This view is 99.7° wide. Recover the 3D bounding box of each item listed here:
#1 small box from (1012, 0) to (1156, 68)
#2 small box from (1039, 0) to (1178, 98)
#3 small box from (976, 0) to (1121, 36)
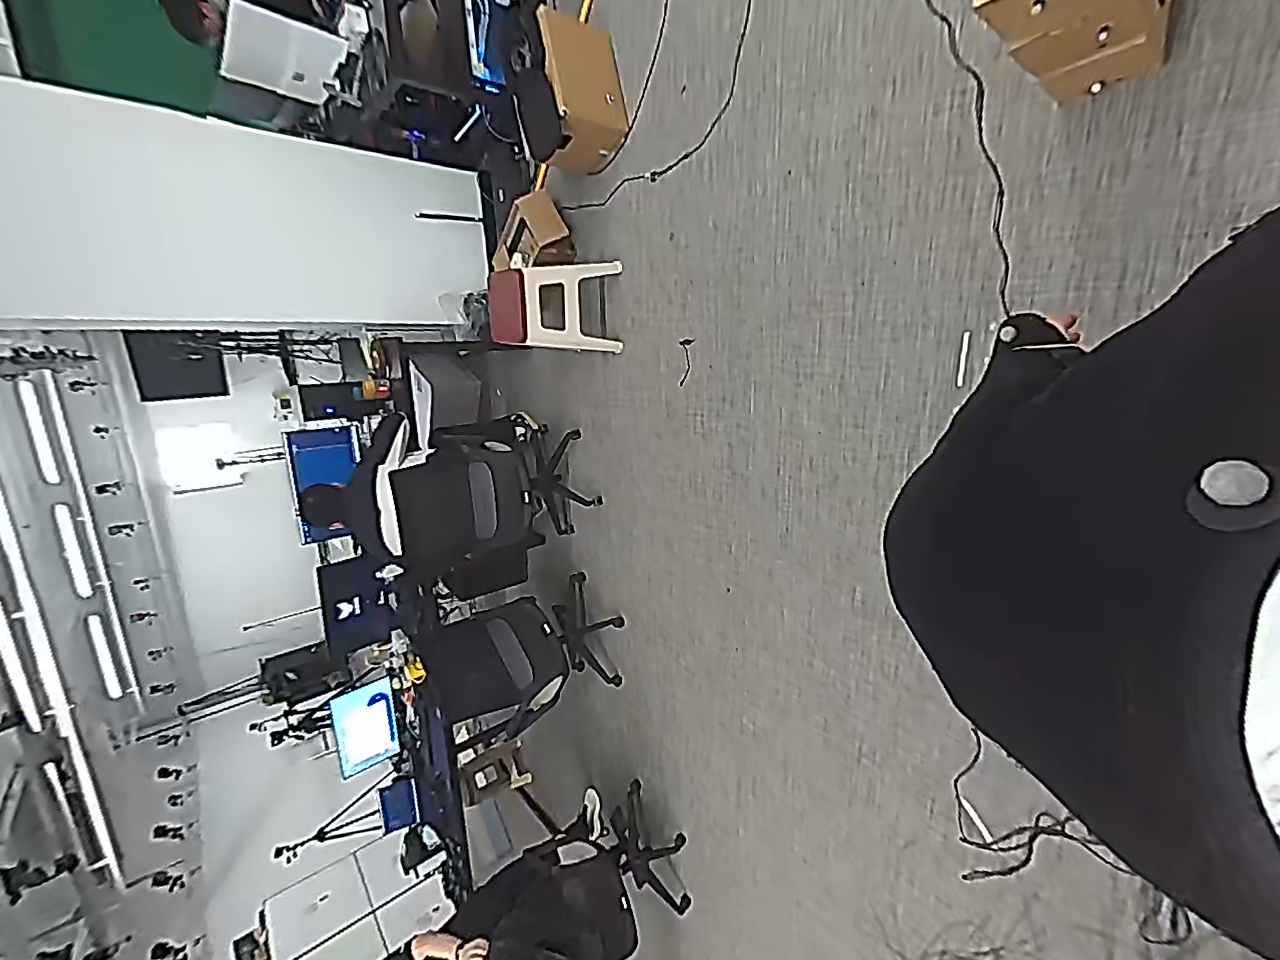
[{"bbox_3d":[0.757,-0.844,0.918,0.168,0.176,0.179,5,102,49],"label":"small box"},{"bbox_3d":[0.883,-0.864,1.017,0.168,0.176,0.179,11,109,50],"label":"small box"},{"bbox_3d":[0.640,-0.812,0.806,0.179,0.176,0.168,17,112,48],"label":"small box"}]
